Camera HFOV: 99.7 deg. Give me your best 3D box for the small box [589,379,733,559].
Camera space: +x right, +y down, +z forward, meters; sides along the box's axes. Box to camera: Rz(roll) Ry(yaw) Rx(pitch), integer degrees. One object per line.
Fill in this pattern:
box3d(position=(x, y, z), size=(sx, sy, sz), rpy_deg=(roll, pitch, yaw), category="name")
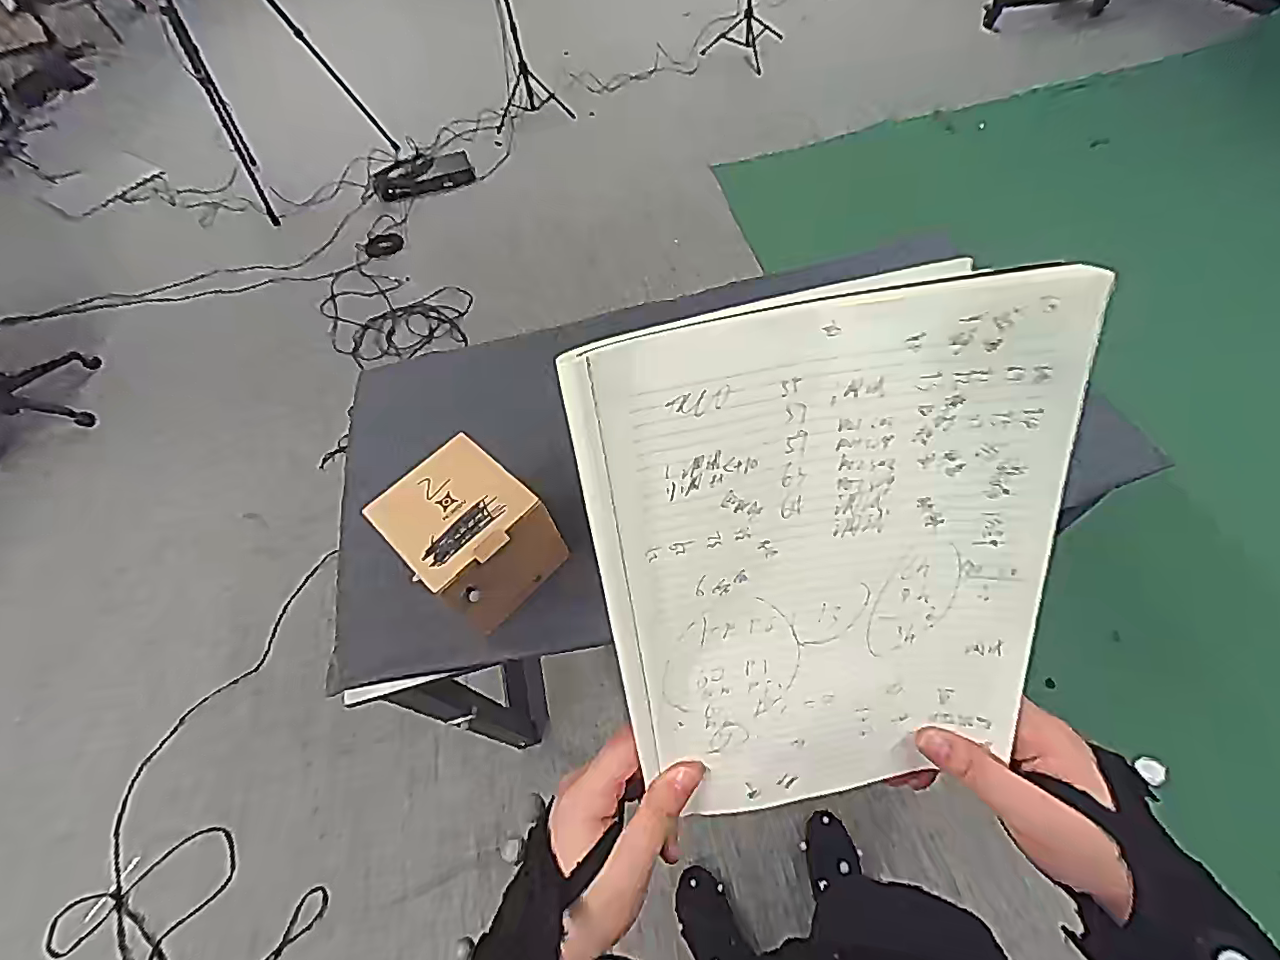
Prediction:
box3d(position=(0.030, -0.012, 0.776), size=(0.168, 0.176, 0.179), rpy_deg=(-13, 56, 1), category="small box")
